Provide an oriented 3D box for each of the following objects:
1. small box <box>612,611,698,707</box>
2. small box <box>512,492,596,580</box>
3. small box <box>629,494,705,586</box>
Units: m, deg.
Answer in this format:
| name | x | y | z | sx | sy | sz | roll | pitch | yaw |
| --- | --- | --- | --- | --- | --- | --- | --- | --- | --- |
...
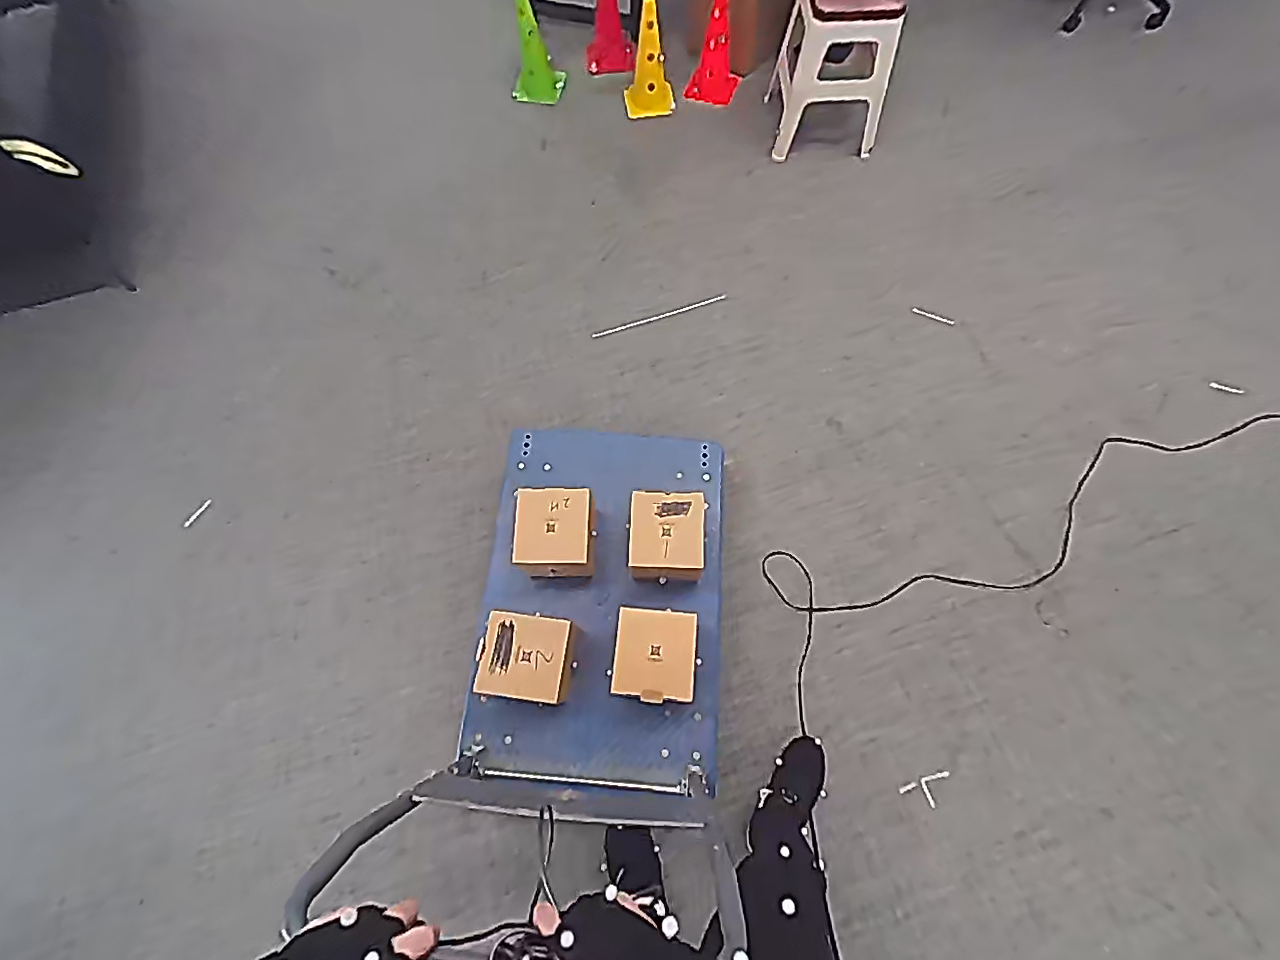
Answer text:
| name | x | y | z | sx | sy | sz | roll | pitch | yaw |
| --- | --- | --- | --- | --- | --- | --- | --- | --- | --- |
| small box | 0.034 | 0.390 | 1.180 | 0.168 | 0.176 | 0.179 | 4 | 71 | 3 |
| small box | -0.194 | 0.138 | 1.280 | 0.168 | 0.176 | 0.179 | 0 | 69 | 1 |
| small box | 0.063 | 0.144 | 1.269 | 0.168 | 0.176 | 0.179 | 2 | 70 | 3 |
